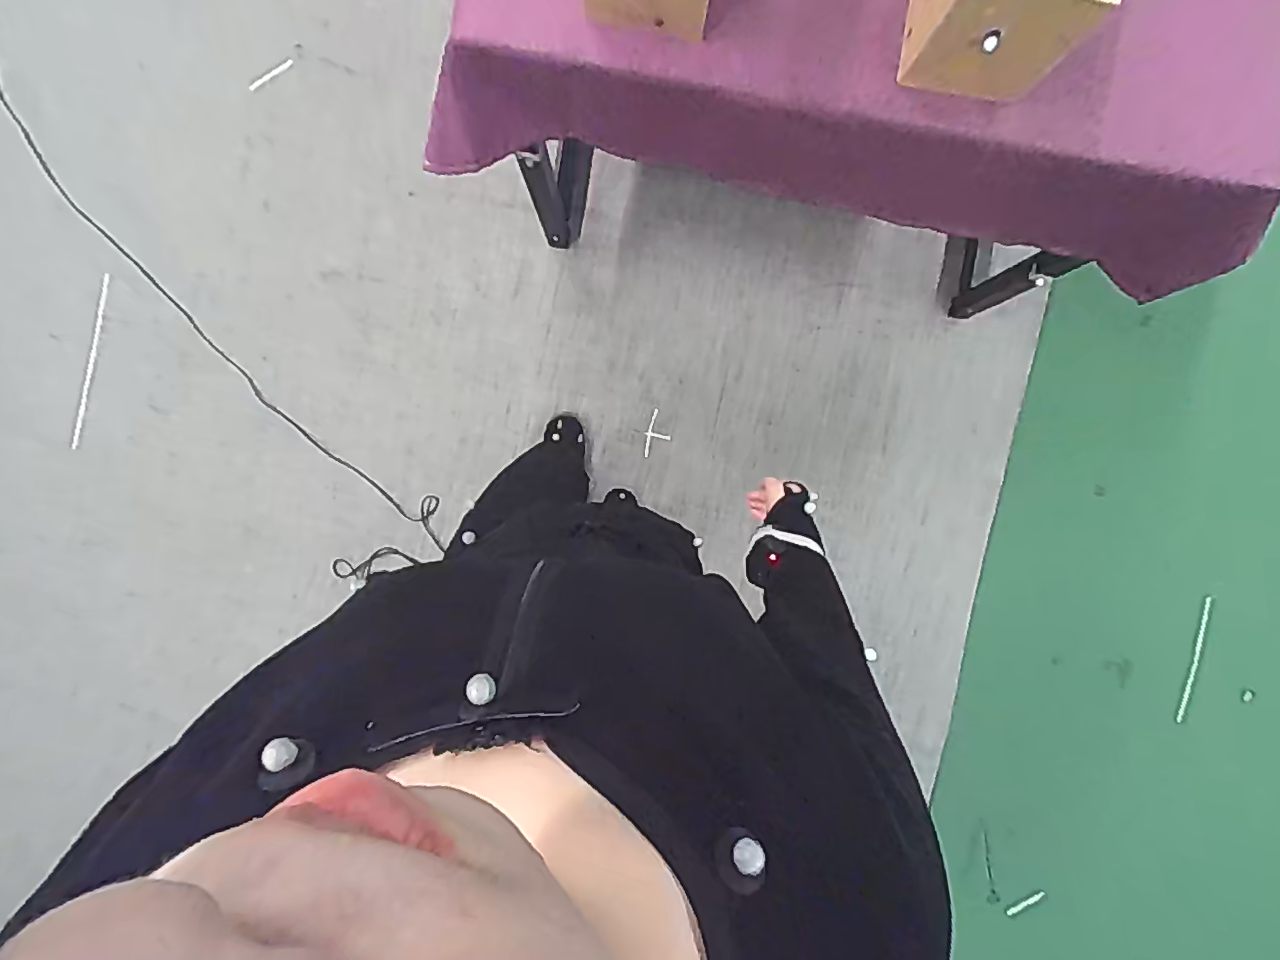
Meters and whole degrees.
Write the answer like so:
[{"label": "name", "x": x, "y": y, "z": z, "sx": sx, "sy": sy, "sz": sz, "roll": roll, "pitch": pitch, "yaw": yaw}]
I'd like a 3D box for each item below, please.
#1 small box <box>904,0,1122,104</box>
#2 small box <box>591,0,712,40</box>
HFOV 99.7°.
[{"label": "small box", "x": 0.463, "y": -0.617, "z": 0.682, "sx": 0.179, "sy": 0.176, "sz": 0.168, "roll": 9, "pitch": 91, "yaw": 0}, {"label": "small box", "x": 0.024, "y": -0.705, "z": 0.674, "sx": 0.168, "sy": 0.176, "sz": 0.179, "roll": 10, "pitch": 90, "yaw": -2}]
